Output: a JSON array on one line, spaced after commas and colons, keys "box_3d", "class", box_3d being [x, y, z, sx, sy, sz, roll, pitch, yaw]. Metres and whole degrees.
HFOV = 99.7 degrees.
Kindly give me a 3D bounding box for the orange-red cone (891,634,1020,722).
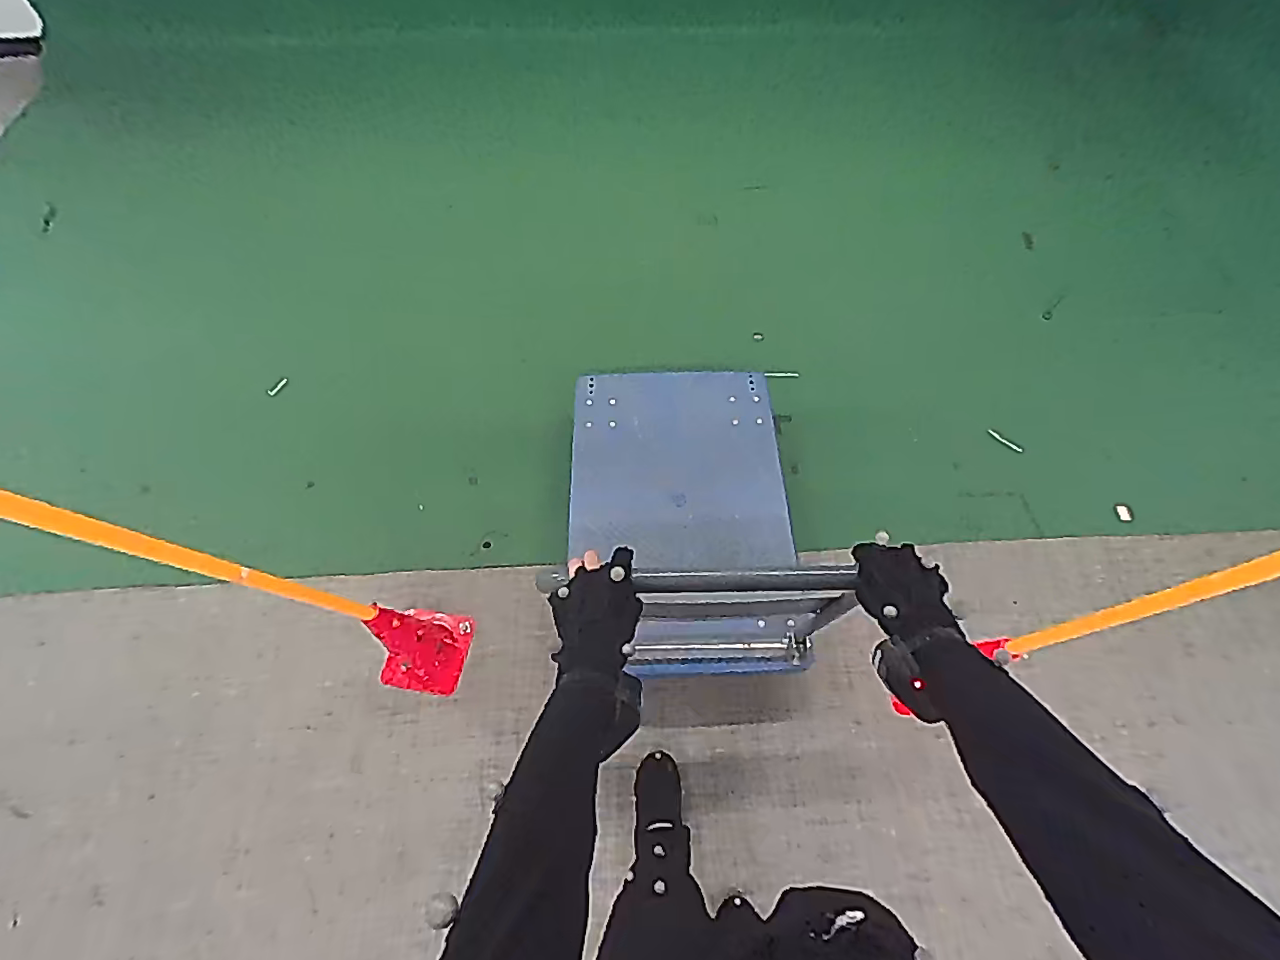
[{"box_3d": [0.742, 0.417, 1.227, 0.198, 0.360, 0.199, 6, 61, 5], "class": "orange-red cone"}]
